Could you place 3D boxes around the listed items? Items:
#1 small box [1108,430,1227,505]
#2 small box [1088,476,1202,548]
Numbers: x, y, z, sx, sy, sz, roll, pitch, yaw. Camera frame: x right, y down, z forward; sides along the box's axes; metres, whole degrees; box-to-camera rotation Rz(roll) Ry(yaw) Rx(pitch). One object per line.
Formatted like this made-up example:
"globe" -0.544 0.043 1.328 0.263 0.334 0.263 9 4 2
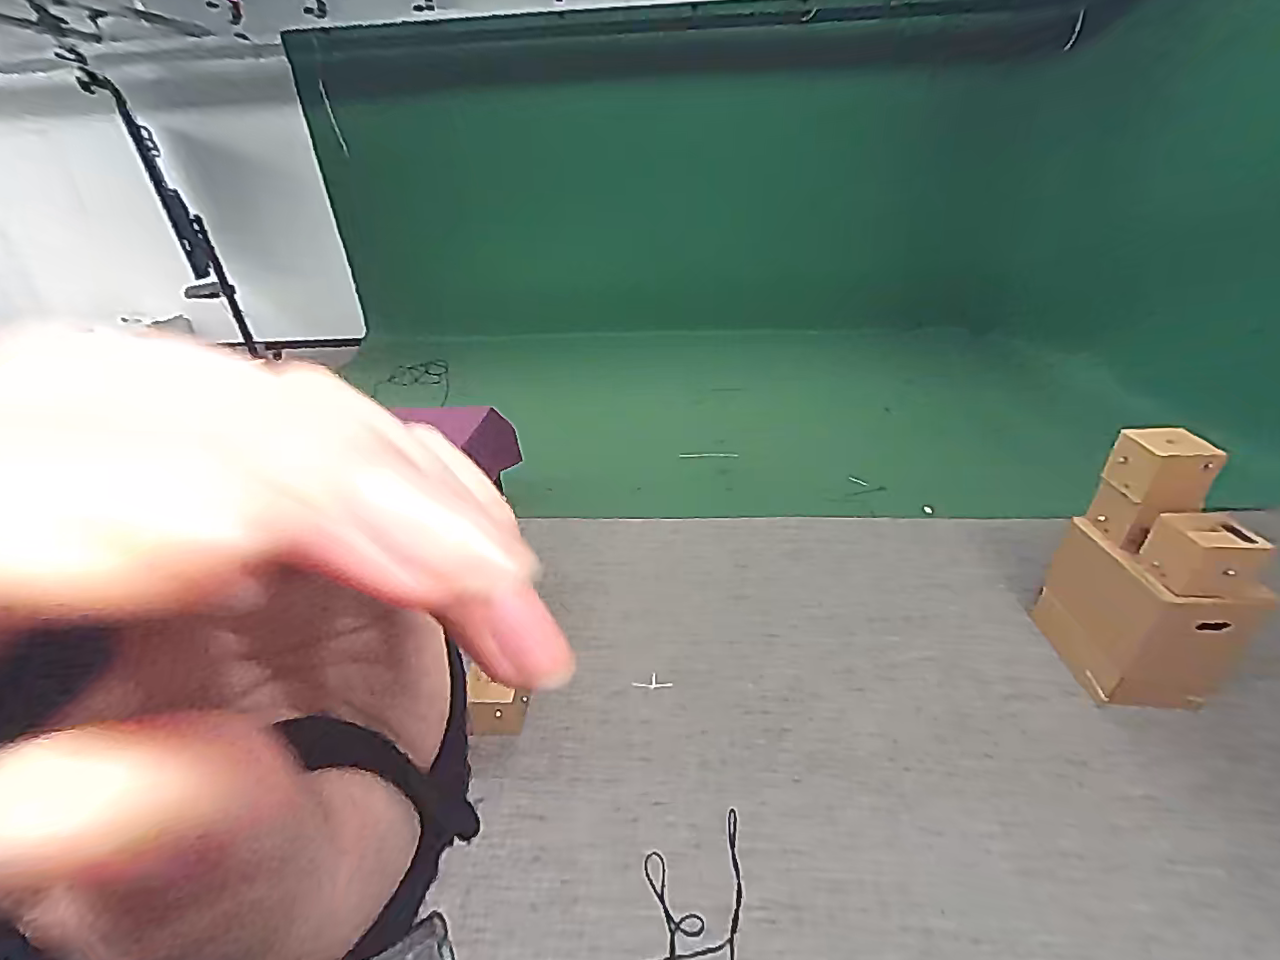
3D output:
"small box" 1.546 -0.037 1.606 0.179 0.176 0.168 -1 33 4
"small box" 1.566 0.101 1.691 0.179 0.176 0.168 -1 33 5
